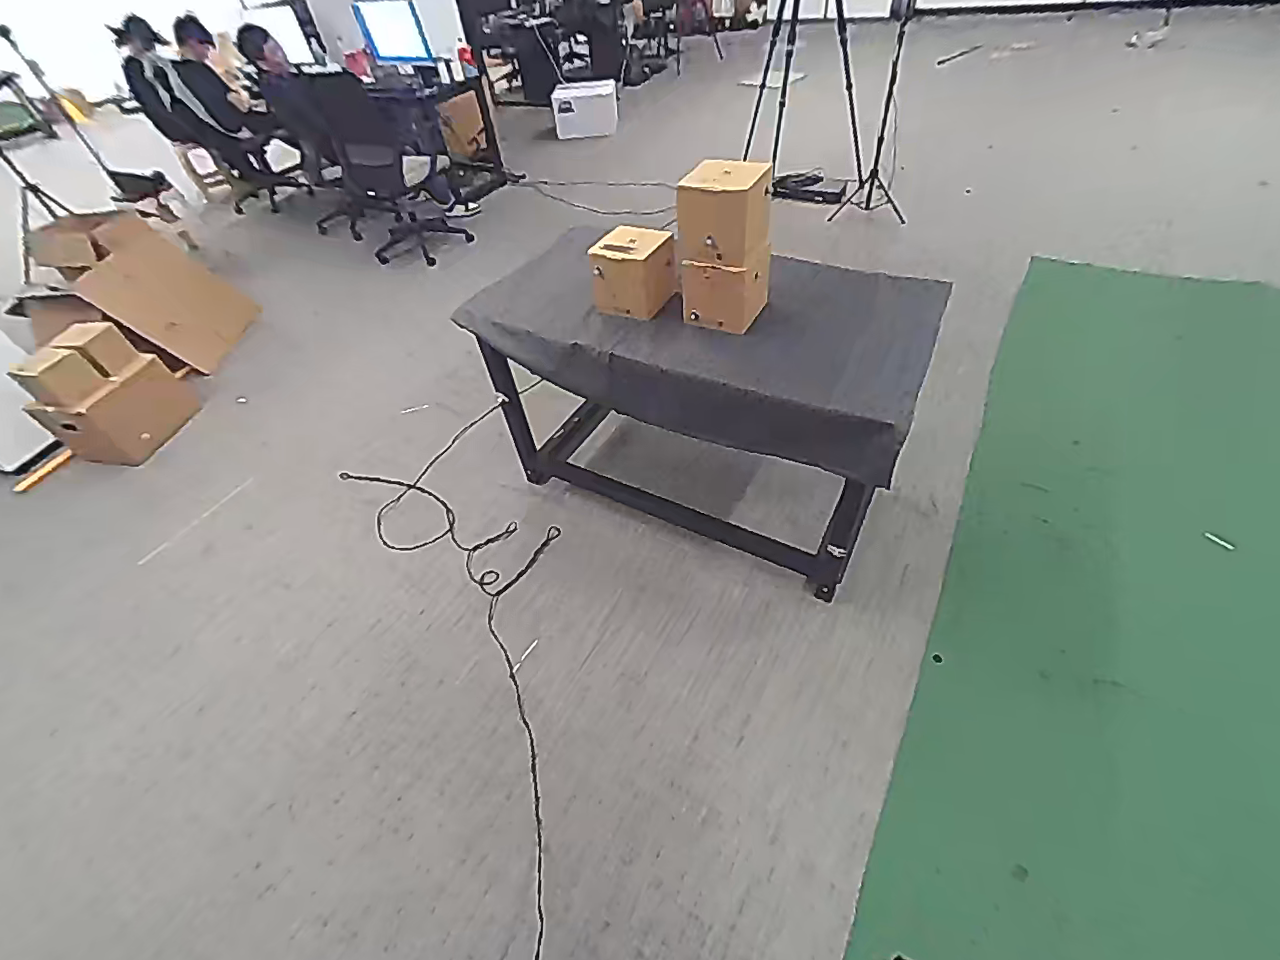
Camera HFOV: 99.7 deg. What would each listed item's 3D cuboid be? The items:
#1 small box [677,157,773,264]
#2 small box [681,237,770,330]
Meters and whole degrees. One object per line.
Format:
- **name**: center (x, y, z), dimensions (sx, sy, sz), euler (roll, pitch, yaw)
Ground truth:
- **small box**: center (0.197, -0.625, 1.254), dimensions (0.168, 0.176, 0.179), euler (17, 52, 23)
- **small box**: center (0.217, -0.501, 1.360), dimensions (0.168, 0.176, 0.179), euler (19, 52, 23)
